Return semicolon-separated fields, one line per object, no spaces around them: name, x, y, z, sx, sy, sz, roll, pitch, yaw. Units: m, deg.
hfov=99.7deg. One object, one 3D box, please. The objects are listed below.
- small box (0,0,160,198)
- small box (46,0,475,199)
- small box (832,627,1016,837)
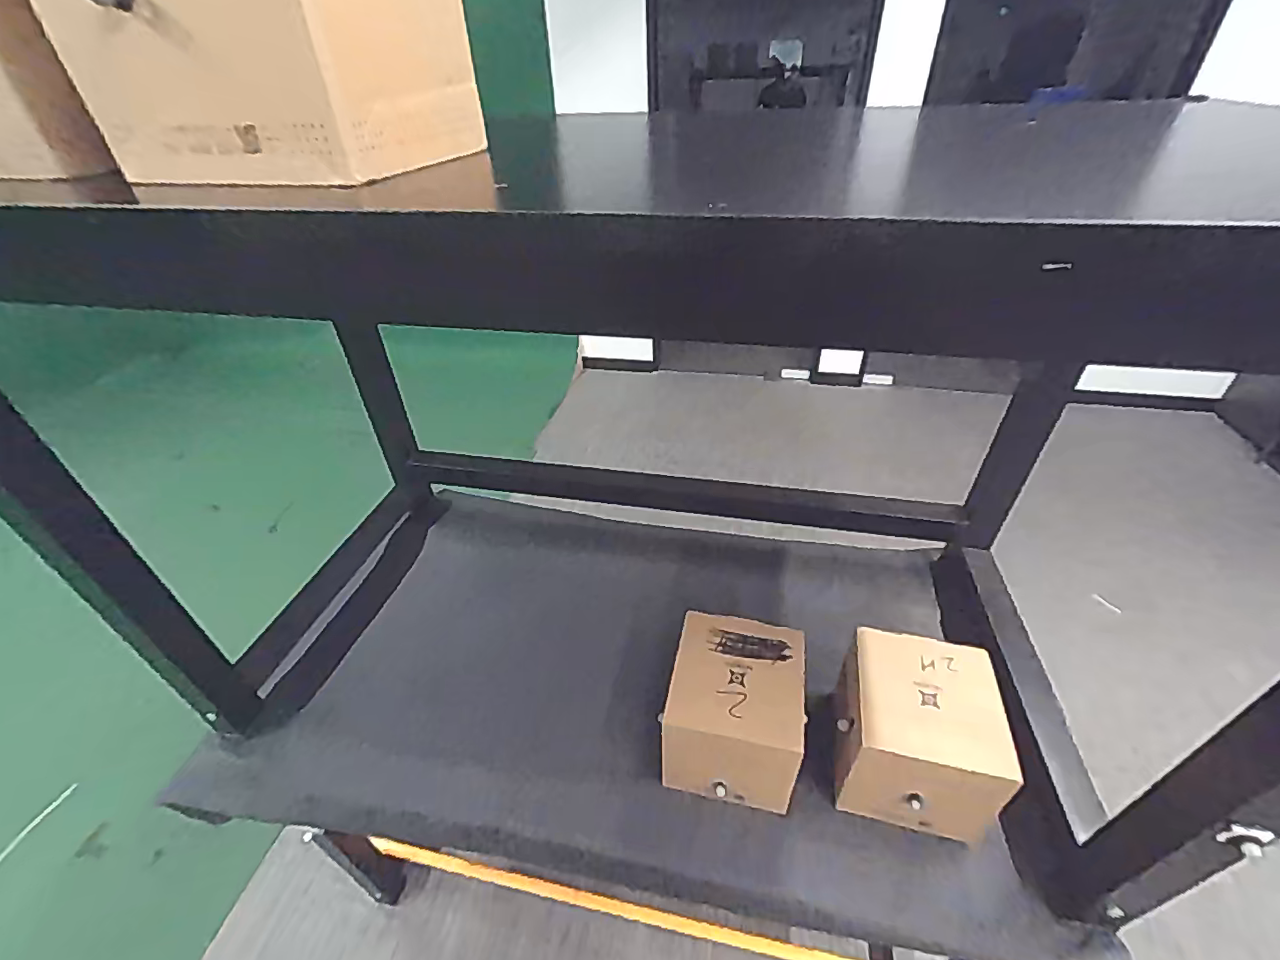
small box;-0.444;-0.322;0.402;0.168;0.176;0.179;7;39;11
small box;-0.227;-0.288;0.350;0.168;0.176;0.179;7;38;12
small box;0.353;0.328;0.709;0.168;0.176;0.179;8;38;14
